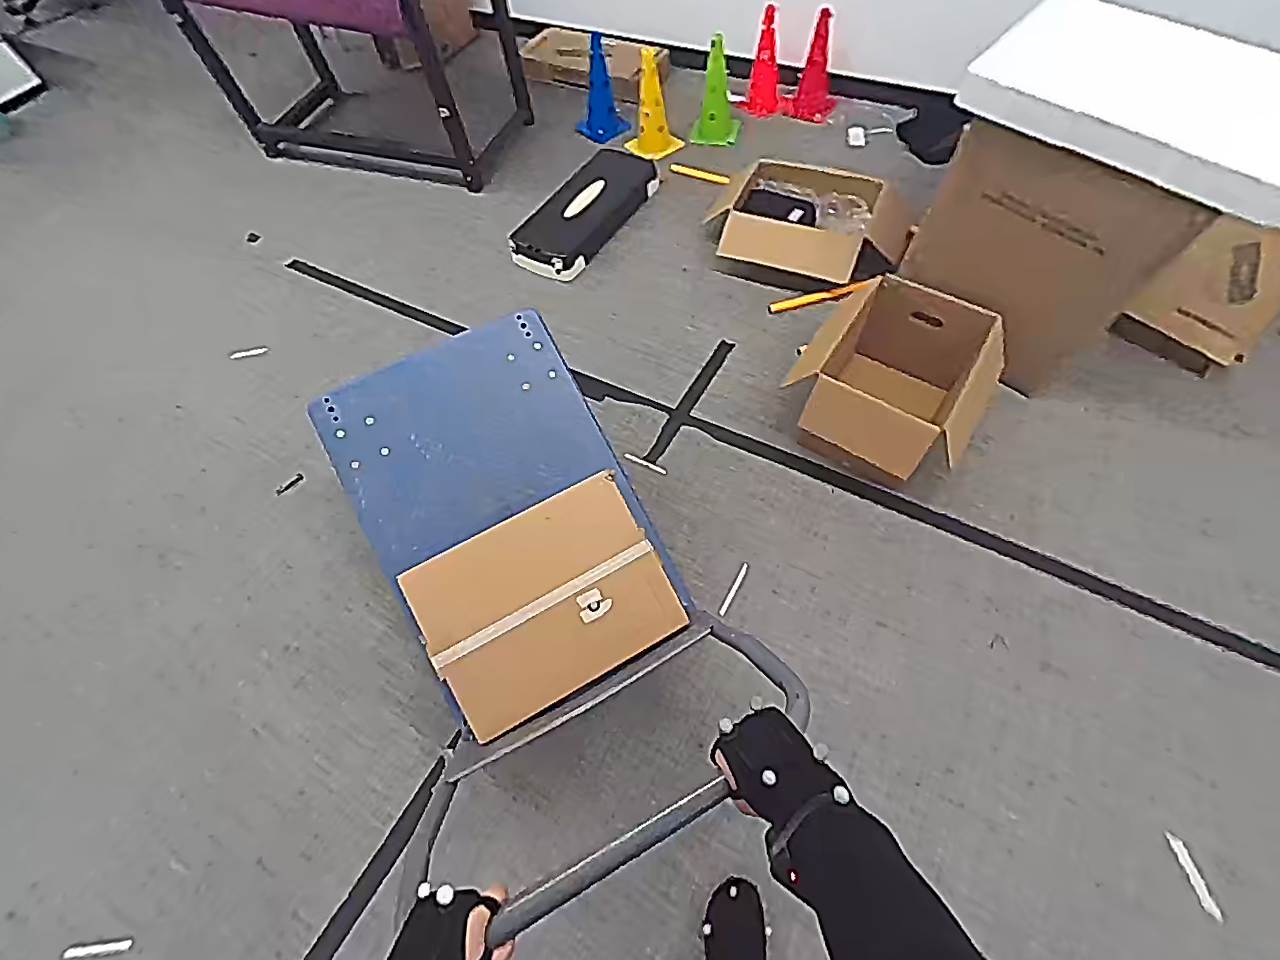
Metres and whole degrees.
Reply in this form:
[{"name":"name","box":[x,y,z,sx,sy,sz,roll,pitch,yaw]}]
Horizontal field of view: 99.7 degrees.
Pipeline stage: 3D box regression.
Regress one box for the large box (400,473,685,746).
[{"name":"large box","box":[-0.182,0.237,1.072,0.408,0.320,0.320,-28,86,-12]}]
